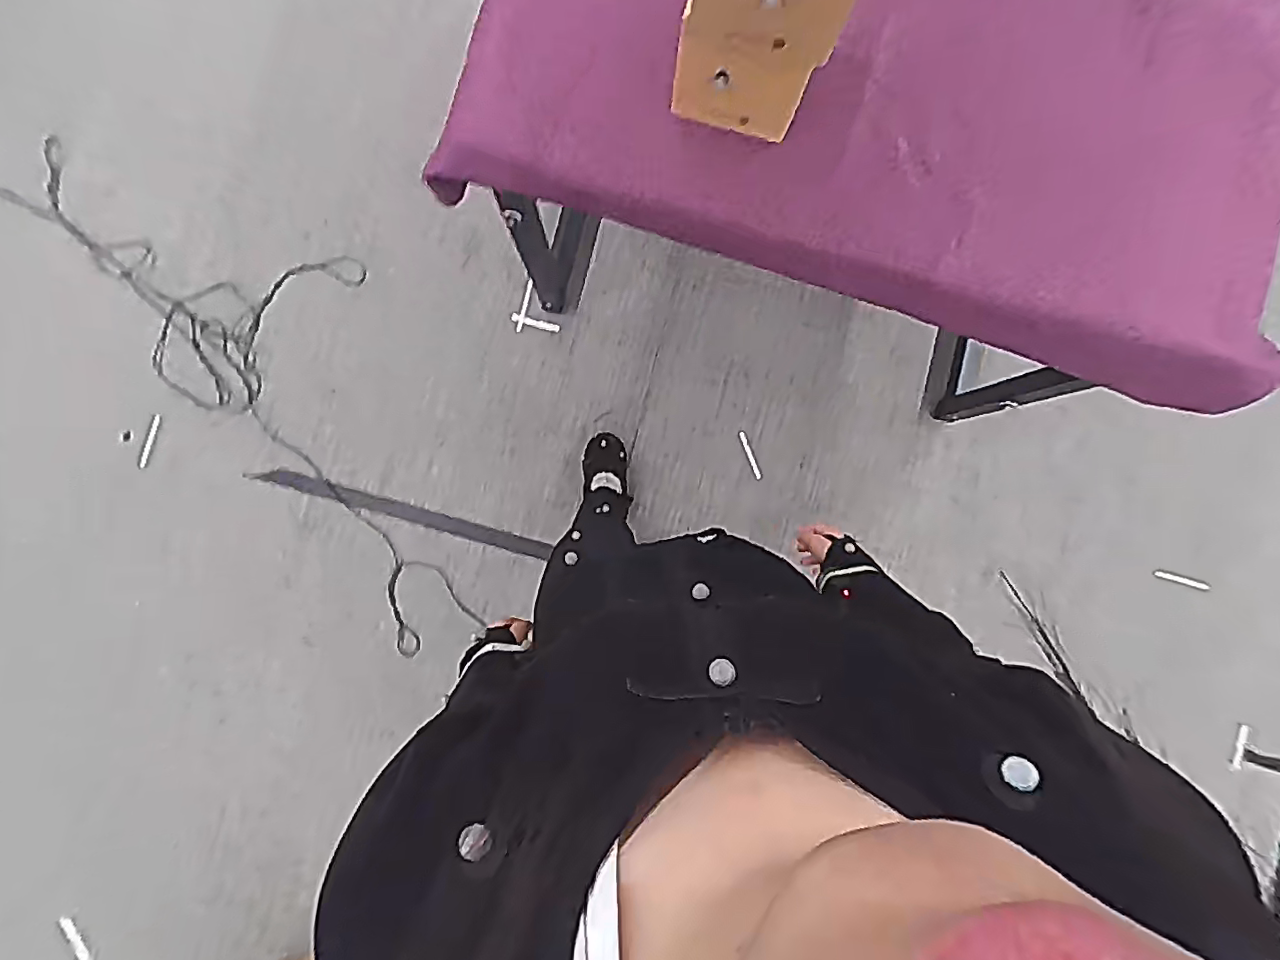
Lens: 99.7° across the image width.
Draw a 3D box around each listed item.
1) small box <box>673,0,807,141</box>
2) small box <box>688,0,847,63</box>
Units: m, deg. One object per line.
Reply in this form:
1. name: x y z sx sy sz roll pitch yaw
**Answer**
1. small box: 0.143 -0.594 0.714 0.168 0.176 0.179 14 87 -1
2. small box: 0.146 -0.578 0.550 0.168 0.176 0.179 10 88 -1
